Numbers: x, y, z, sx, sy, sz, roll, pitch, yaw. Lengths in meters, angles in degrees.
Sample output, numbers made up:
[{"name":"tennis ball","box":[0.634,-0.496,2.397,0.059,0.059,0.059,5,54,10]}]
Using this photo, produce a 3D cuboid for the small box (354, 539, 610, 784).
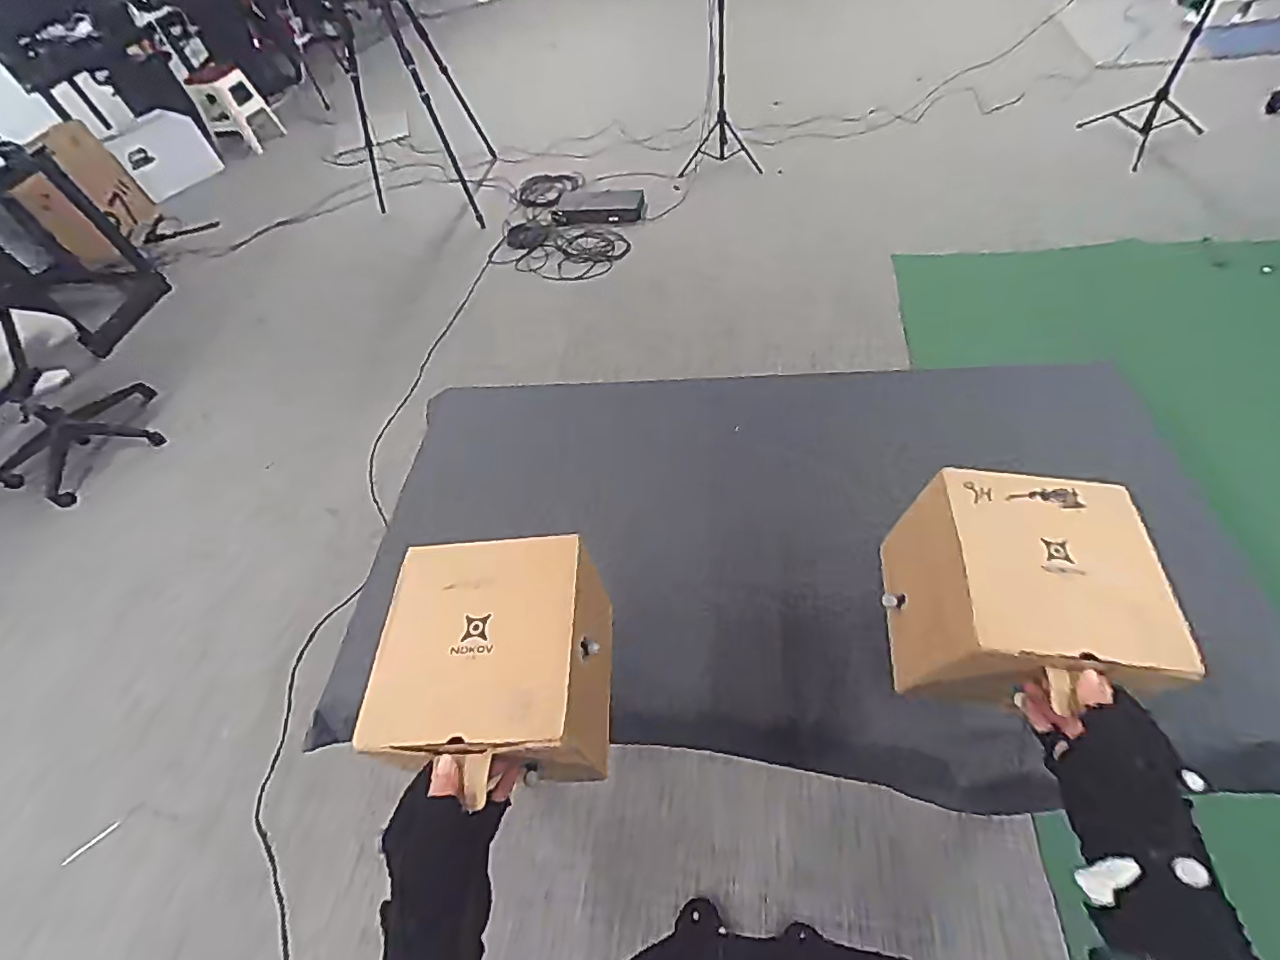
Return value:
[{"name":"small box","box":[-0.122,0.176,0.504,0.168,0.176,0.179,-4,51,5]}]
